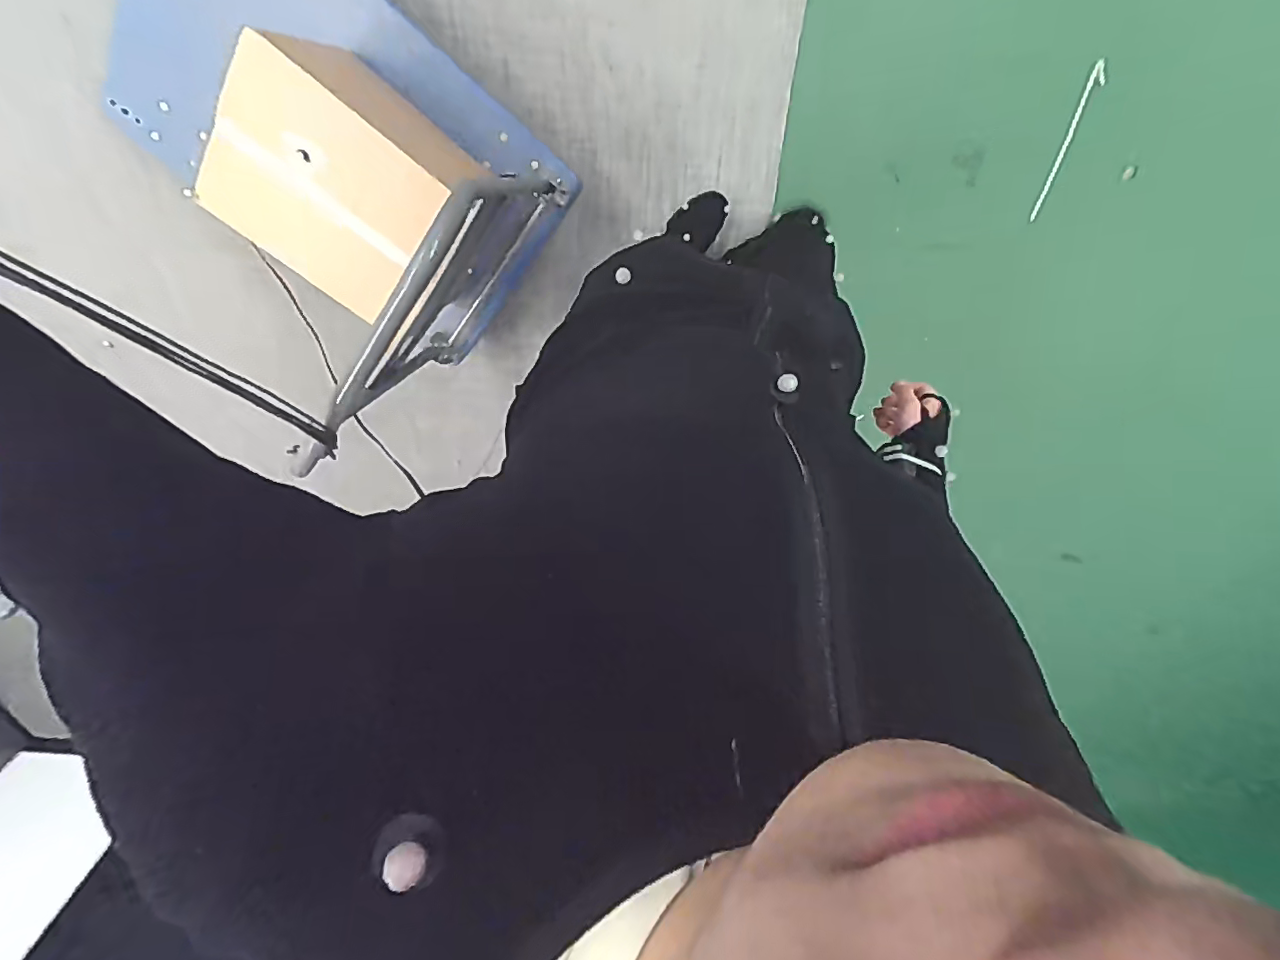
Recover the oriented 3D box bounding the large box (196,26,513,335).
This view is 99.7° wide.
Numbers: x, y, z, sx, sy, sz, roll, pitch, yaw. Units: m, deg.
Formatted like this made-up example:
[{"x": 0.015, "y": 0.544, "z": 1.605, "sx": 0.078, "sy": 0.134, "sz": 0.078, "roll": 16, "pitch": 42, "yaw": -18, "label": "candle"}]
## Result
[{"x": -0.528, "y": -0.567, "z": 1.069, "sx": 0.408, "sy": 0.320, "sz": 0.320, "roll": 36, "pitch": 117, "yaw": -18, "label": "large box"}]
